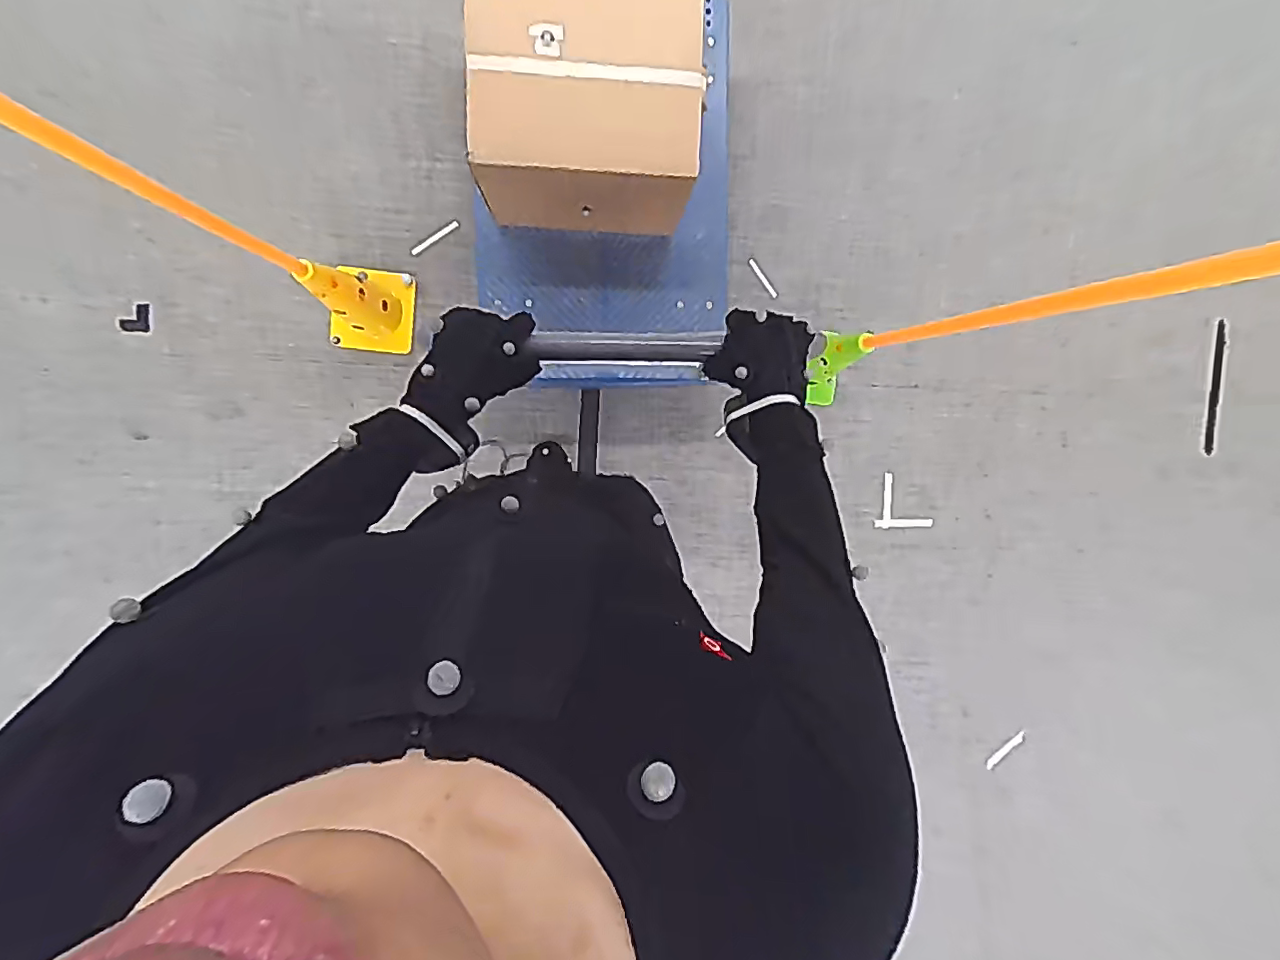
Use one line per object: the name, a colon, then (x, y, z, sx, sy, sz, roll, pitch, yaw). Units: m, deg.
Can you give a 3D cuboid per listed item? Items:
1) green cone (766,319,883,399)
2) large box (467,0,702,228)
green cone: (0.466, -0.312, 1.304, 0.202, 0.368, 0.200, 6, 95, -7)
large box: (-0.102, -0.713, 1.073, 0.408, 0.320, 0.320, 1, 96, -5)
